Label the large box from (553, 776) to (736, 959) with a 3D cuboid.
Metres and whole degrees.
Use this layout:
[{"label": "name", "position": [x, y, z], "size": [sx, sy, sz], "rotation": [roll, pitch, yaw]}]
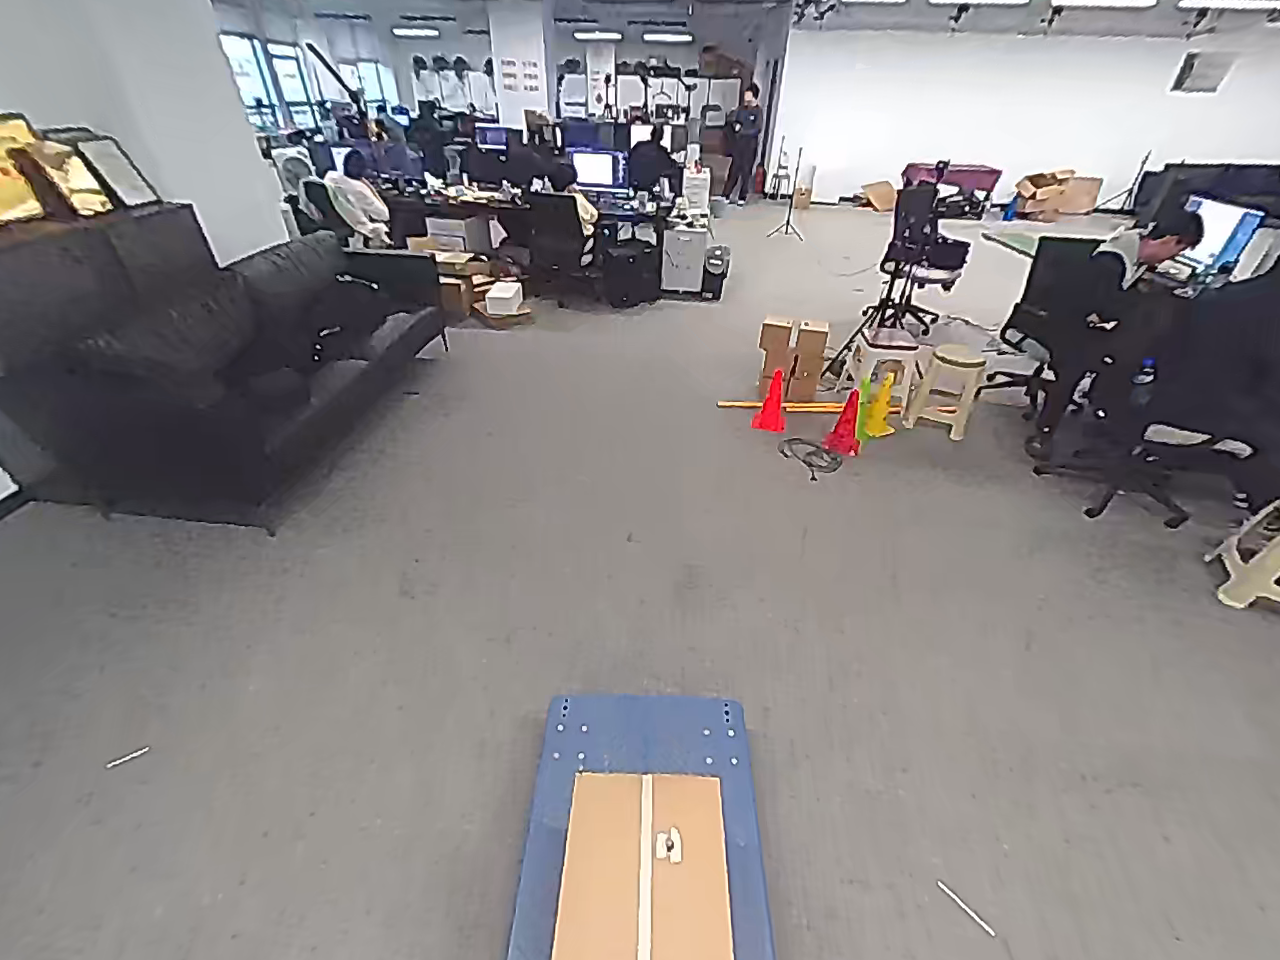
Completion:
[{"label": "large box", "position": [0.009, 0.875, 1.081], "size": [0.320, 0.320, 0.408], "rotation": [2, 35, 1]}]
